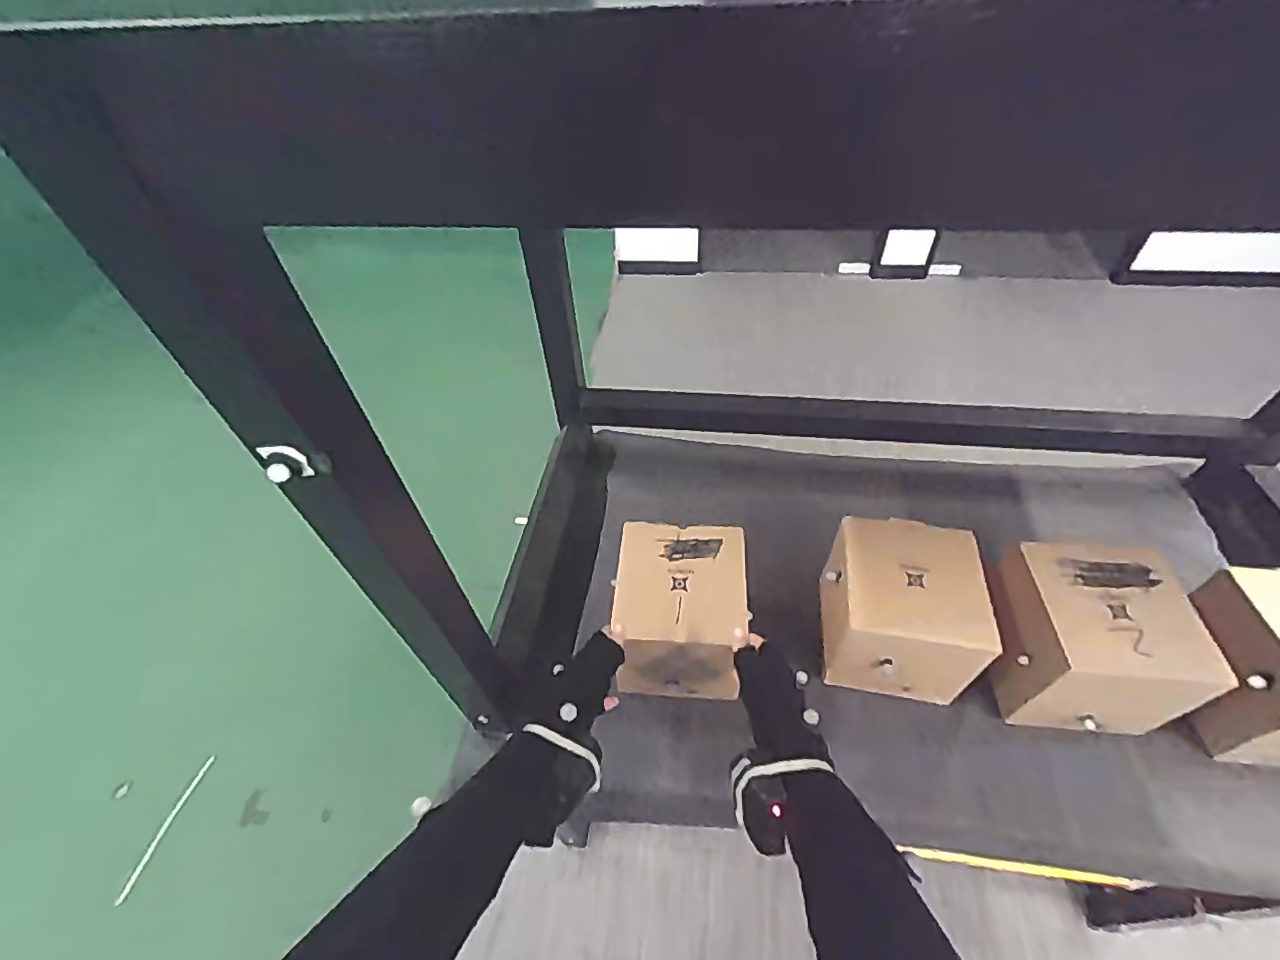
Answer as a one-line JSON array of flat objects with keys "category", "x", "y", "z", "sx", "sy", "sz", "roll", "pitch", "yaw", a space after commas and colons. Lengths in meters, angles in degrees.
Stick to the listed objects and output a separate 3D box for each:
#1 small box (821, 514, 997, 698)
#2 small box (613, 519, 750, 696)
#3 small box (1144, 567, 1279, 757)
[{"category": "small box", "x": 0.348, "y": 0.174, "z": 0.738, "sx": 0.168, "sy": 0.176, "sz": 0.179, "roll": 7, "pitch": 48, "yaw": 10}, {"category": "small box", "x": 0.059, "y": 0.177, "z": 0.749, "sx": 0.168, "sy": 0.176, "sz": 0.179, "roll": 2, "pitch": 49, "yaw": 5}, {"category": "small box", "x": 0.786, "y": 0.228, "z": 0.654, "sx": 0.168, "sy": 0.176, "sz": 0.179, "roll": 3, "pitch": 47, "yaw": 6}]
